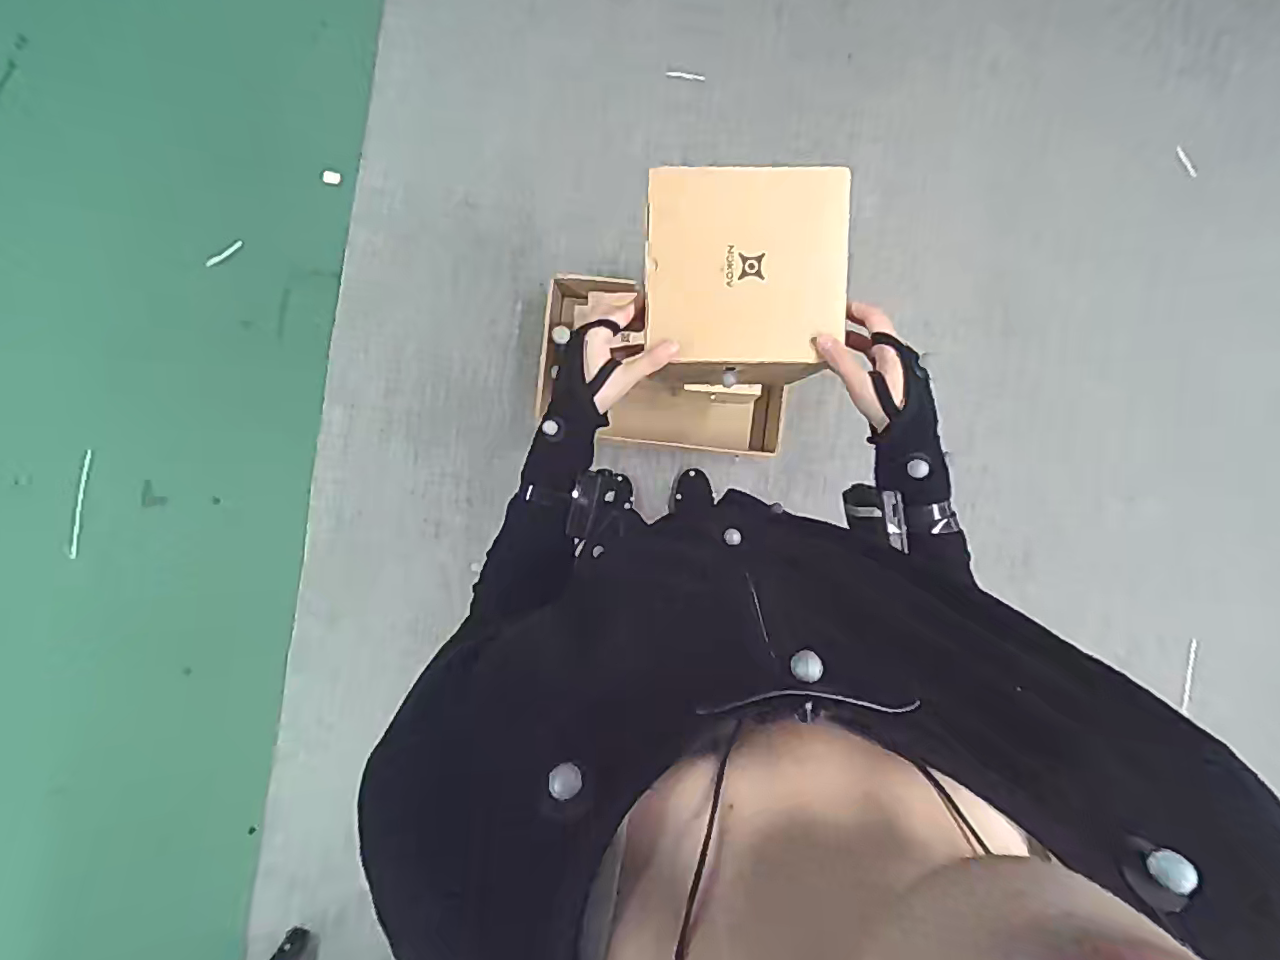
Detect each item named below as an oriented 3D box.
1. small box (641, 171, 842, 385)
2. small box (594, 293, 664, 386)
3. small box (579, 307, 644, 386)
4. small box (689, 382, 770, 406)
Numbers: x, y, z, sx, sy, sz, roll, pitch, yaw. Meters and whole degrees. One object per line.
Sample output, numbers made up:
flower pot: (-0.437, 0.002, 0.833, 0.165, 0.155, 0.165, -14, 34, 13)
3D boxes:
small box: (0.091, -0.189, 0.552, 0.179, 0.176, 0.168, -1, 94, 3)
small box: (-0.014, -0.311, 1.232, 0.168, 0.176, 0.179, 2, 92, -1)
small box: (-0.057, -0.338, 1.395, 0.179, 0.176, 0.168, 4, 92, 0)
small box: (0.202, -0.272, 1.224, 0.168, 0.176, 0.179, 5, 91, 3)
